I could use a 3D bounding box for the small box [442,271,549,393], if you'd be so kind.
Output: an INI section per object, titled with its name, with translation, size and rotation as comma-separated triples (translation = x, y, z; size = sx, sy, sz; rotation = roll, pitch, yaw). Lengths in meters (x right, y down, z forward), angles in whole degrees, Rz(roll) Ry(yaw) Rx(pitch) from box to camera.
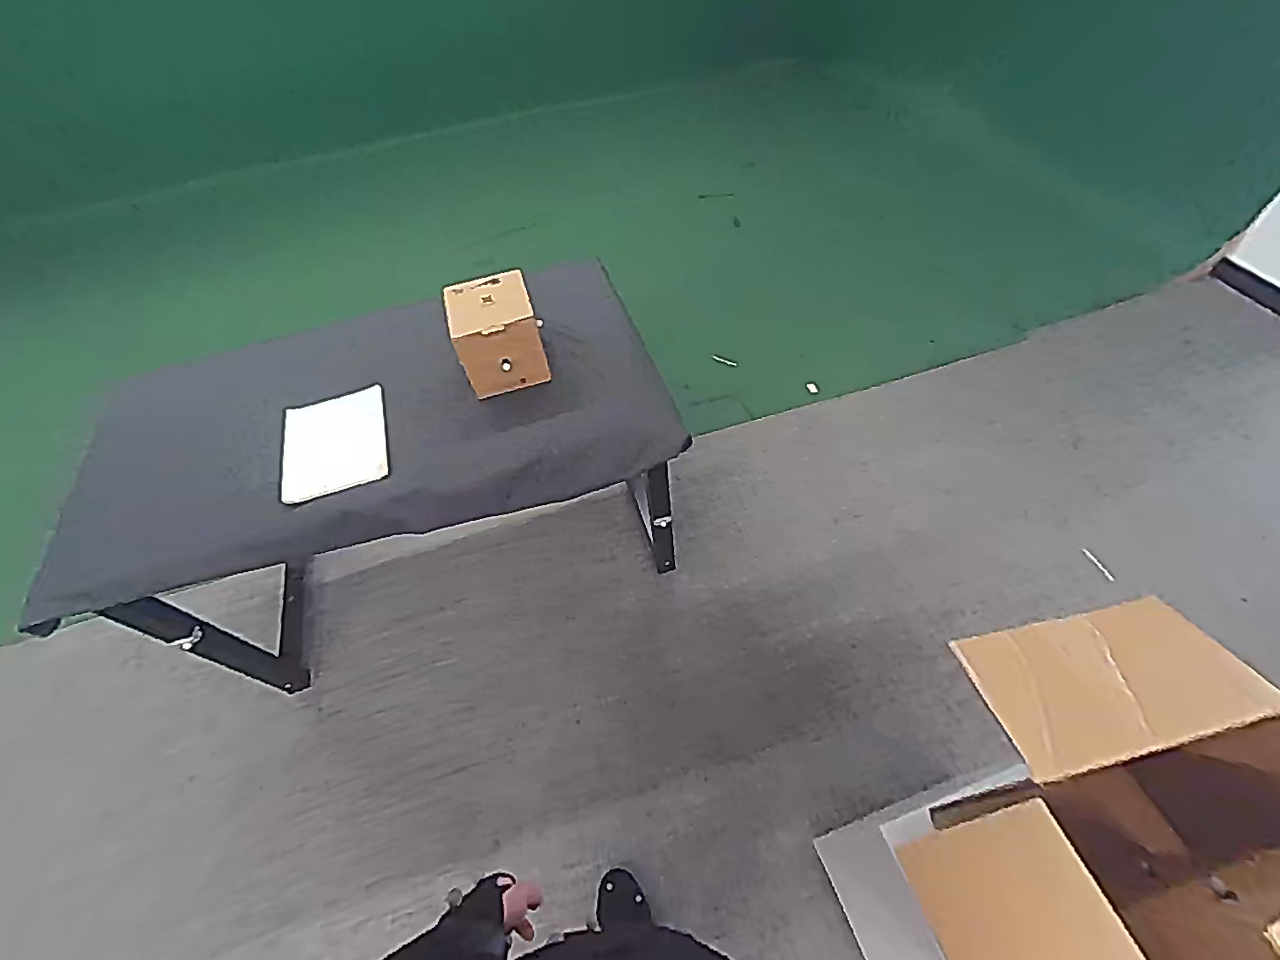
[small box]
translation = -0.301, -0.306, 1.146
size = 0.168, 0.176, 0.179
rotation = -16, 56, -7
